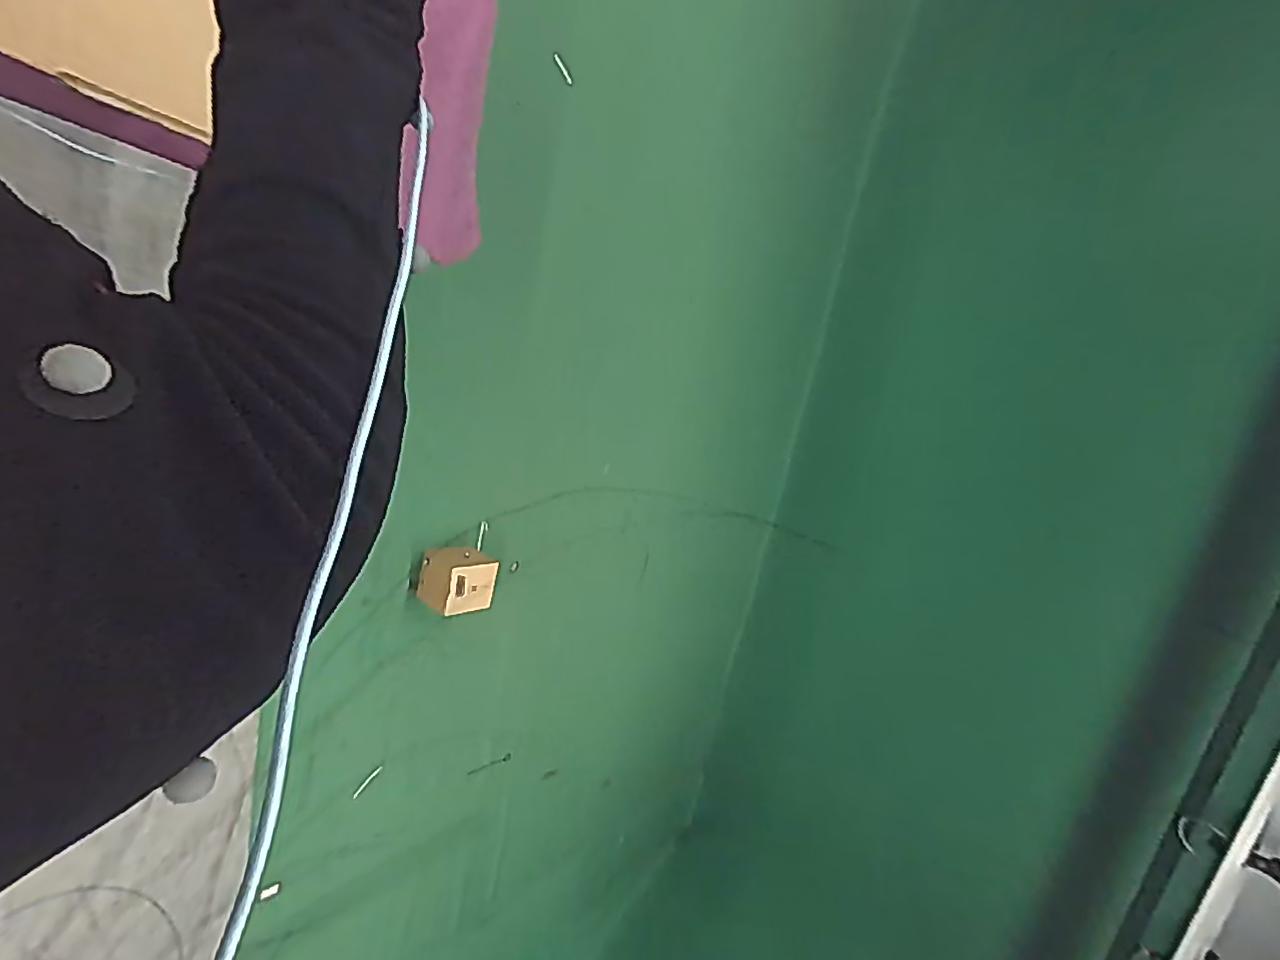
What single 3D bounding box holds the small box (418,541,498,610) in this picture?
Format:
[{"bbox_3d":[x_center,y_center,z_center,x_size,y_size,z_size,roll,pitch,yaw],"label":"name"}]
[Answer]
[{"bbox_3d":[-0.607,0.312,1.793,0.179,0.176,0.168,2,106,-53],"label":"small box"}]
